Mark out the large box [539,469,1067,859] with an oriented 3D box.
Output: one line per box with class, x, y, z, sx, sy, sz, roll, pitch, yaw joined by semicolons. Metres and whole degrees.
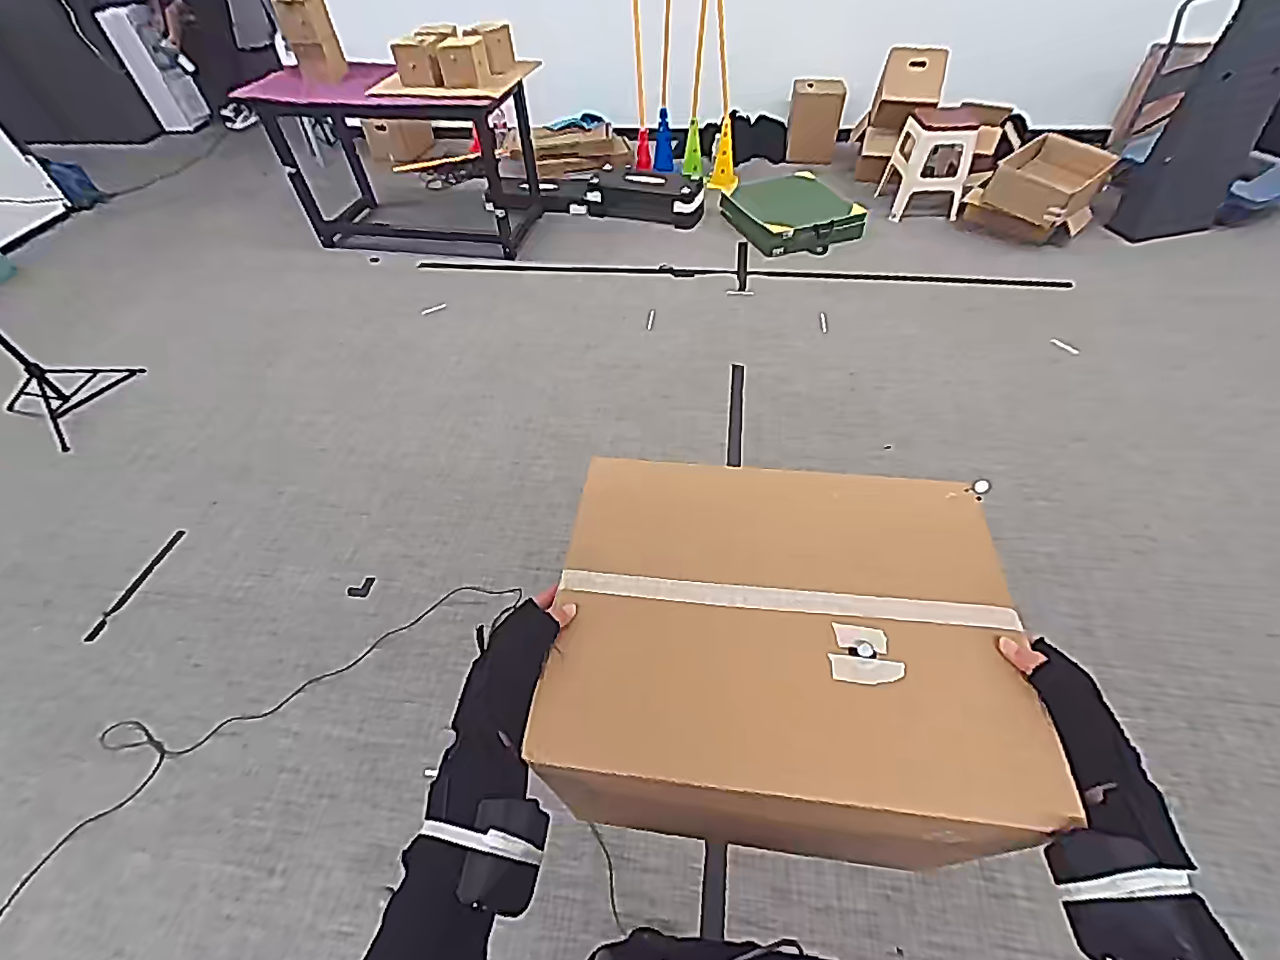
large box;0.135;0.209;0.616;0.408;0.320;0.320;4;52;6
